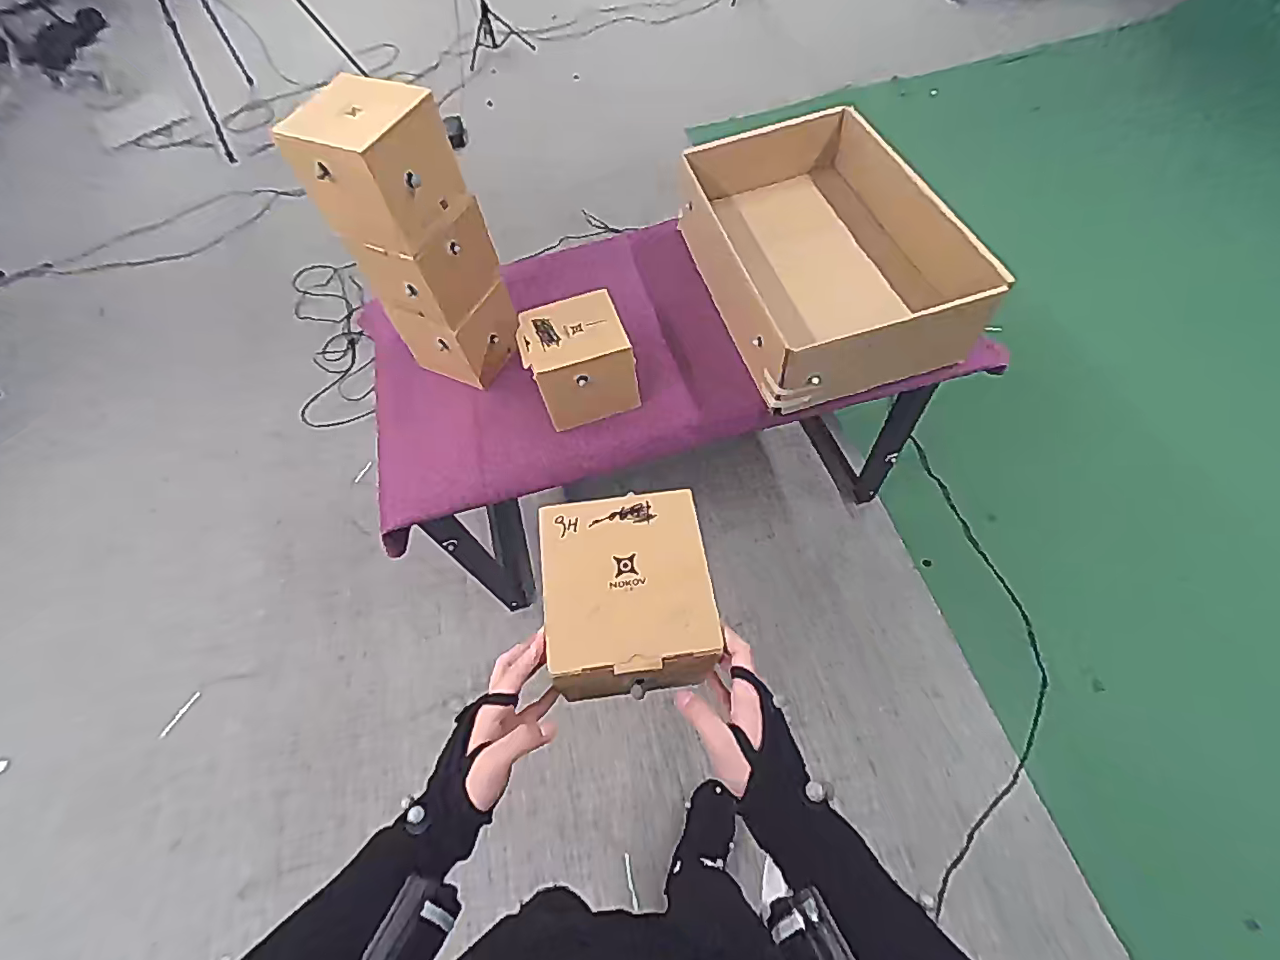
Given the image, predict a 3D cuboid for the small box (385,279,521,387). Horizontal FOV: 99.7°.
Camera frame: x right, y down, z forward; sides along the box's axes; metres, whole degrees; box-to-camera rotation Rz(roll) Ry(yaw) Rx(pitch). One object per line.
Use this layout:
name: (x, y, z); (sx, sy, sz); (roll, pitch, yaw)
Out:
small box: (-0.374, -0.317, 1.119); (0.179, 0.176, 0.168); (22, 64, 17)

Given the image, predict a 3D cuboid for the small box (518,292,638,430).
small box: (-0.114, -0.221, 1.034); (0.179, 0.176, 0.168); (-18, 59, -4)

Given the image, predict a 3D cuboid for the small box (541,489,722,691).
small box: (-0.014, 0.132, 0.605); (0.168, 0.176, 0.179); (-7, 61, -5)

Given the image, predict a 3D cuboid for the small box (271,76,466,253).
small box: (-0.404, -0.482, 0.841); (0.179, 0.176, 0.168); (20, 65, 16)

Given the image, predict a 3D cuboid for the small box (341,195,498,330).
small box: (-0.384, -0.403, 0.981); (0.168, 0.176, 0.179); (22, 65, 16)
